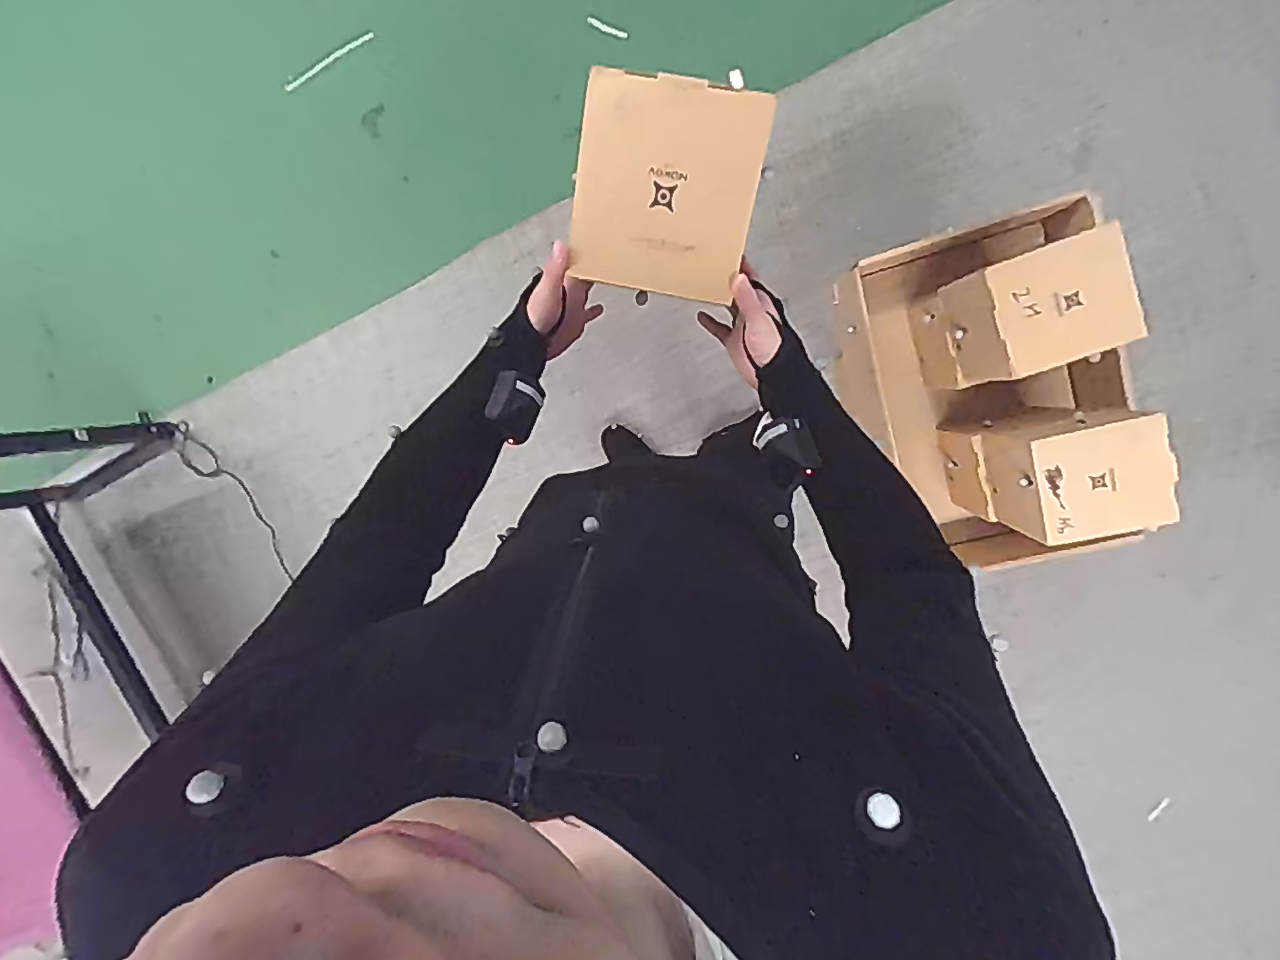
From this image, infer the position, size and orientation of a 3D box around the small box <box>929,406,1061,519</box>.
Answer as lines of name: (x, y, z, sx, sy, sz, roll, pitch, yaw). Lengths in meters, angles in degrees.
small box: (0.693, -0.042, 1.045, 0.179, 0.176, 0.168, -15, 98, 11)

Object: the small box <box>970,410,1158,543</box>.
small box: (0.680, -0.014, 0.883, 0.179, 0.176, 0.168, -13, 99, 10)

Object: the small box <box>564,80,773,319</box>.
small box: (0.028, -0.278, 0.570, 0.168, 0.176, 0.179, 12, 111, 2)

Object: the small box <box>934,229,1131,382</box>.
small box: (0.597, -0.261, 0.844, 0.179, 0.176, 0.168, -18, 98, 10)
